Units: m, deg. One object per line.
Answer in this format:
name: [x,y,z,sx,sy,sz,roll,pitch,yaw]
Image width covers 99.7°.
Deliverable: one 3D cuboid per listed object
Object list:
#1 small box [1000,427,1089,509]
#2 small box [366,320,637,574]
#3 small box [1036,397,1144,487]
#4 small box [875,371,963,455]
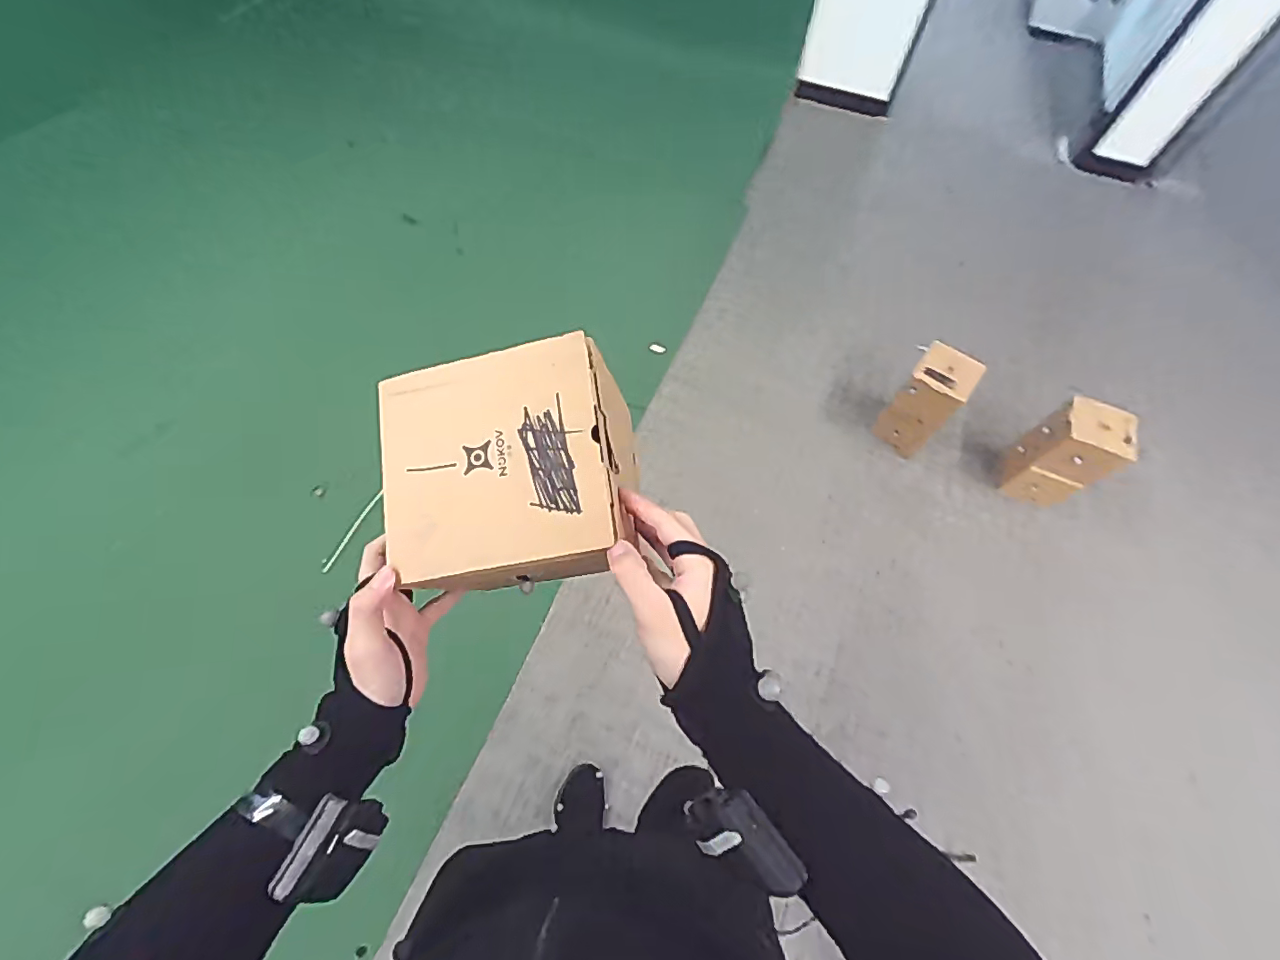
small box: [1.279,-0.032,1.710,0.168,0.176,0.179,23,65,8]
small box: [-0.102,-0.011,0.461,0.179,0.176,0.168,-8,77,9]
small box: [1.293,-0.105,1.564,0.179,0.176,0.168,24,65,10]
small box: [0.905,-0.215,1.778,0.168,0.176,0.179,42,69,16]
